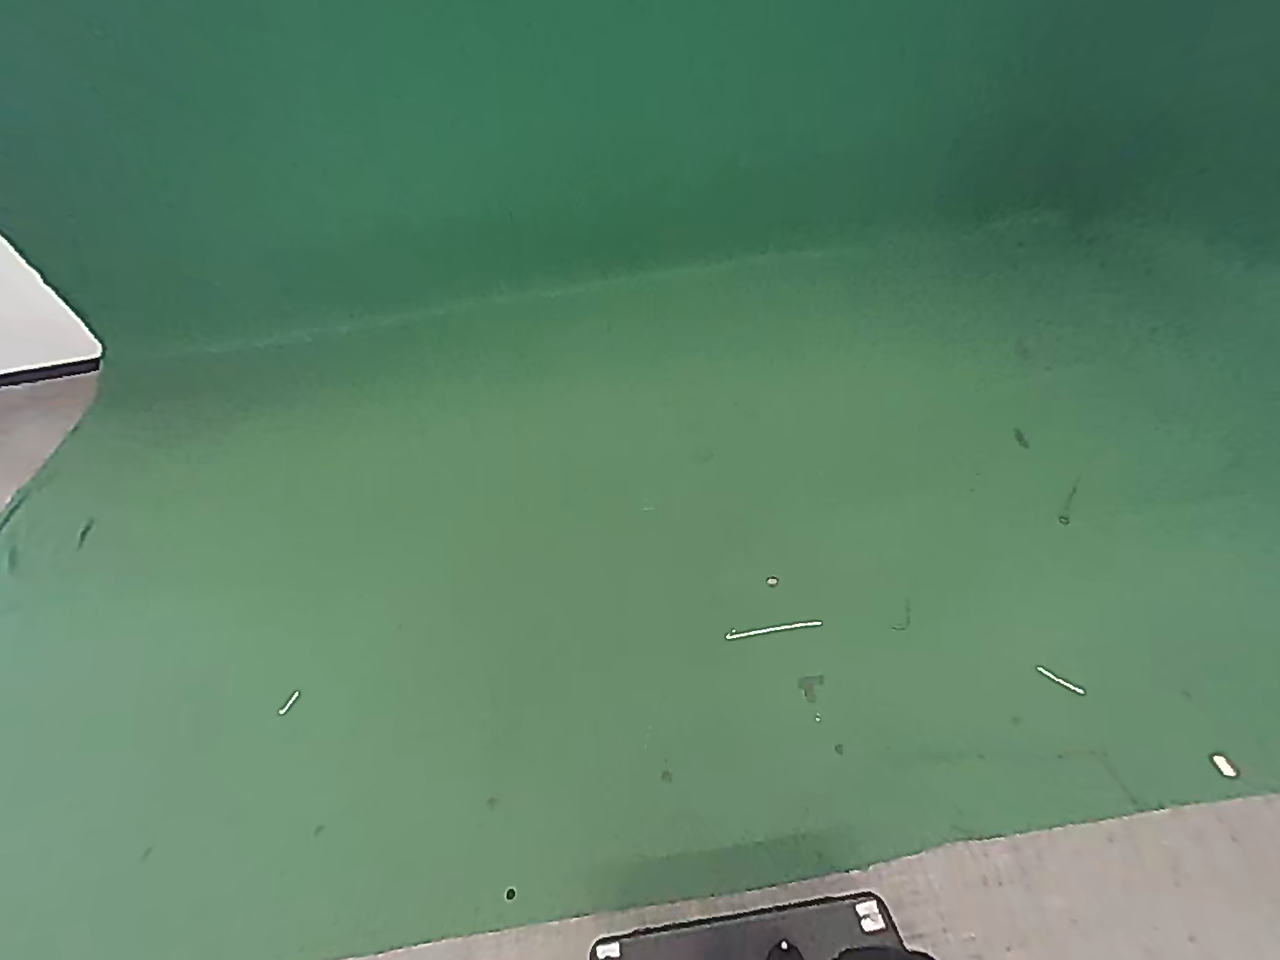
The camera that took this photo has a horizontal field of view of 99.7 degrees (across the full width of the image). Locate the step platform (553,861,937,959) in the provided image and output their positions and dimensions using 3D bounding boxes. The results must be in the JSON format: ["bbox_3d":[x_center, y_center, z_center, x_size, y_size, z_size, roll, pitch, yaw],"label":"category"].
[{"bbox_3d":[0.192,0.935,1.000,0.684,0.204,0.286,-10,49,-1],"label":"step platform"}]
